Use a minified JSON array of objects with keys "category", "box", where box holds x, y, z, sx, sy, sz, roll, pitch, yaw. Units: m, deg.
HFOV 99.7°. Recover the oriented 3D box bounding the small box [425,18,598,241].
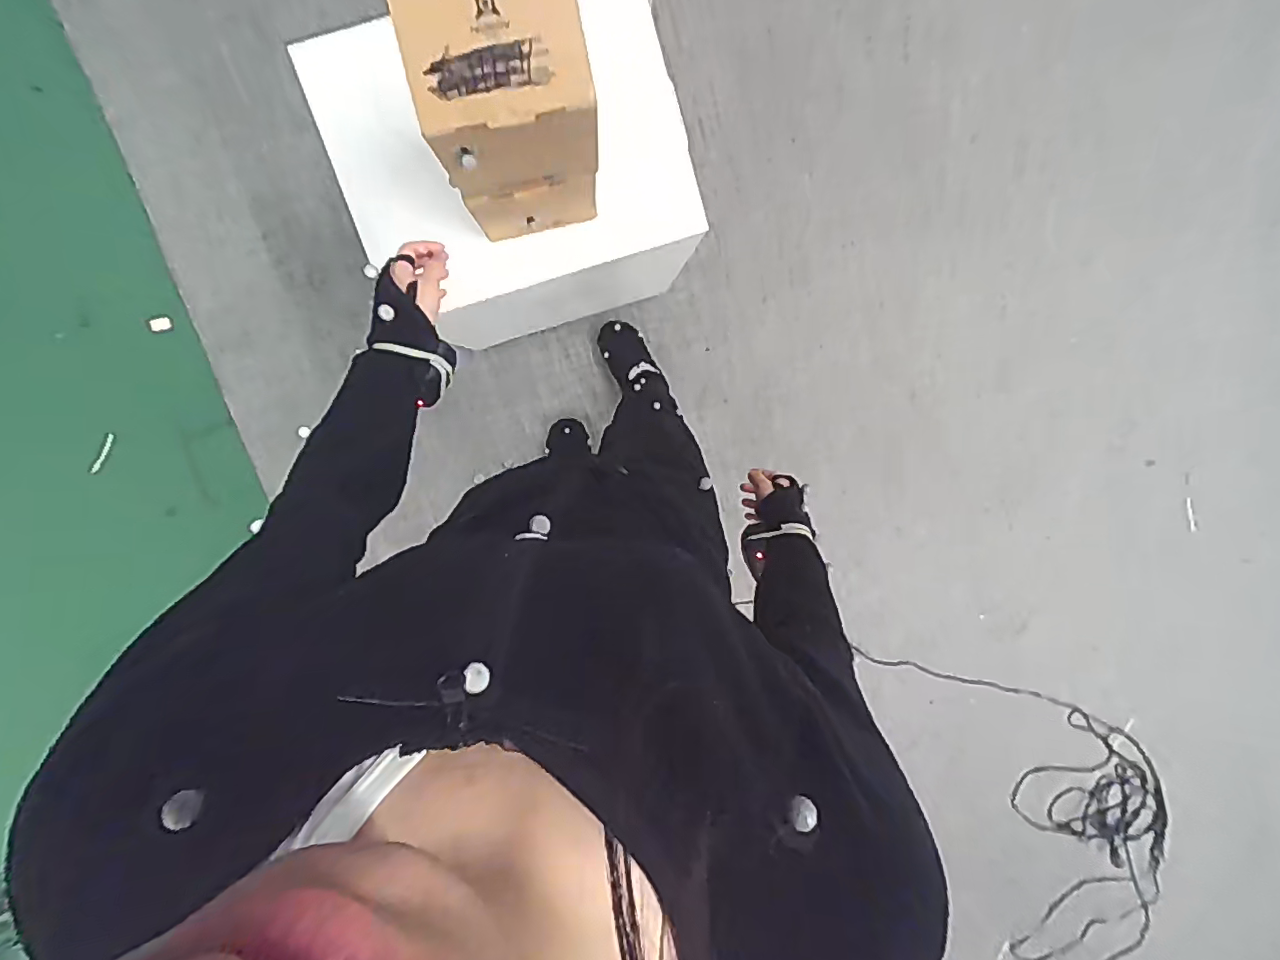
[{"category":"small box","box":[-0.155,-0.442,0.710,0.168,0.176,0.179,-14,99,-2]}]
